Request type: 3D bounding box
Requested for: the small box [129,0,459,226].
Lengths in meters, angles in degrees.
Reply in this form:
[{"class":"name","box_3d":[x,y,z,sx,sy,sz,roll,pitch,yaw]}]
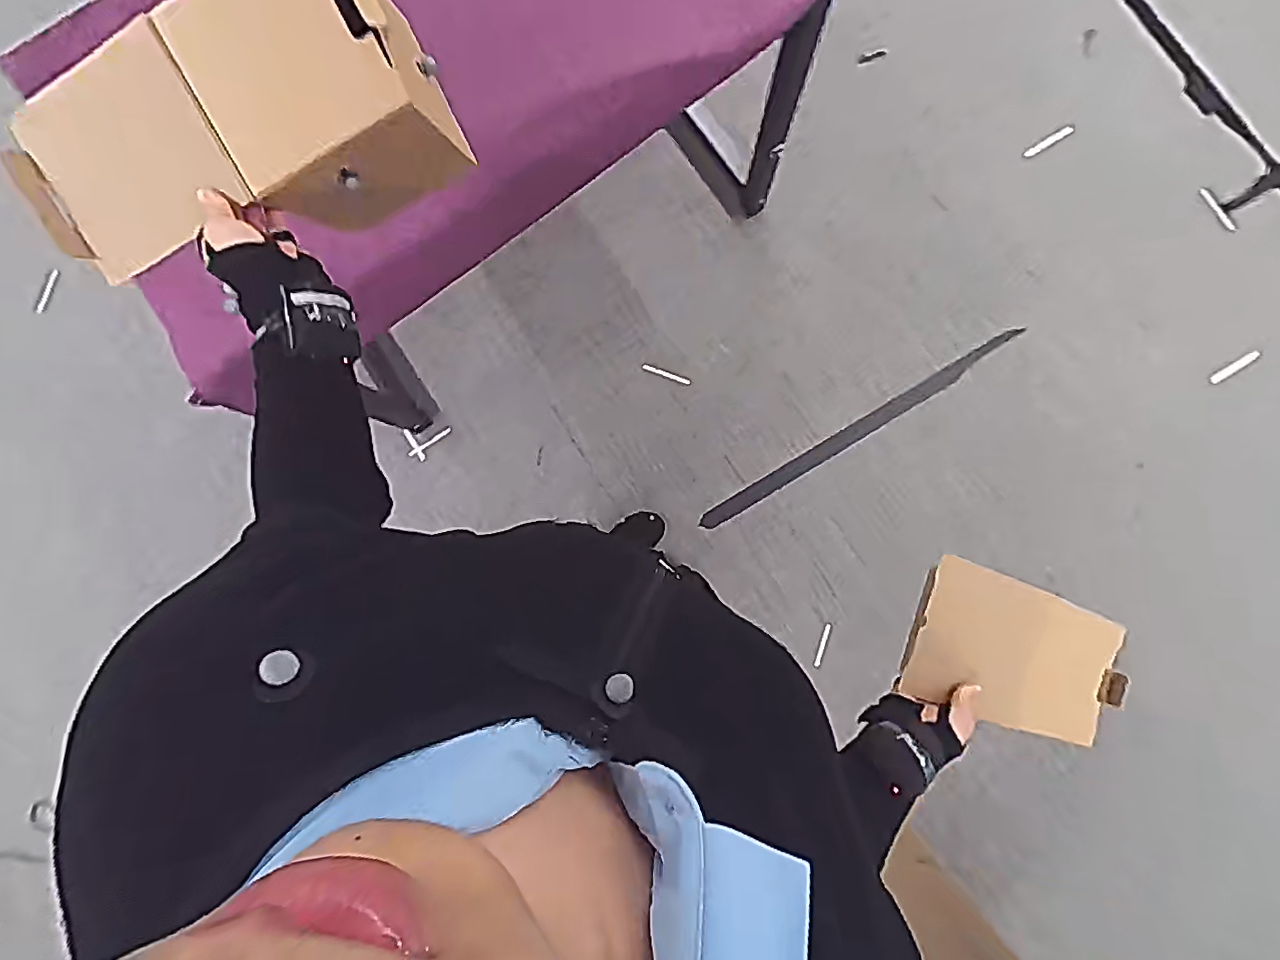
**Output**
[{"class":"small box","box_3d":[-0.315,-0.380,0.533,0.179,0.176,0.168,-27,101,8]}]
